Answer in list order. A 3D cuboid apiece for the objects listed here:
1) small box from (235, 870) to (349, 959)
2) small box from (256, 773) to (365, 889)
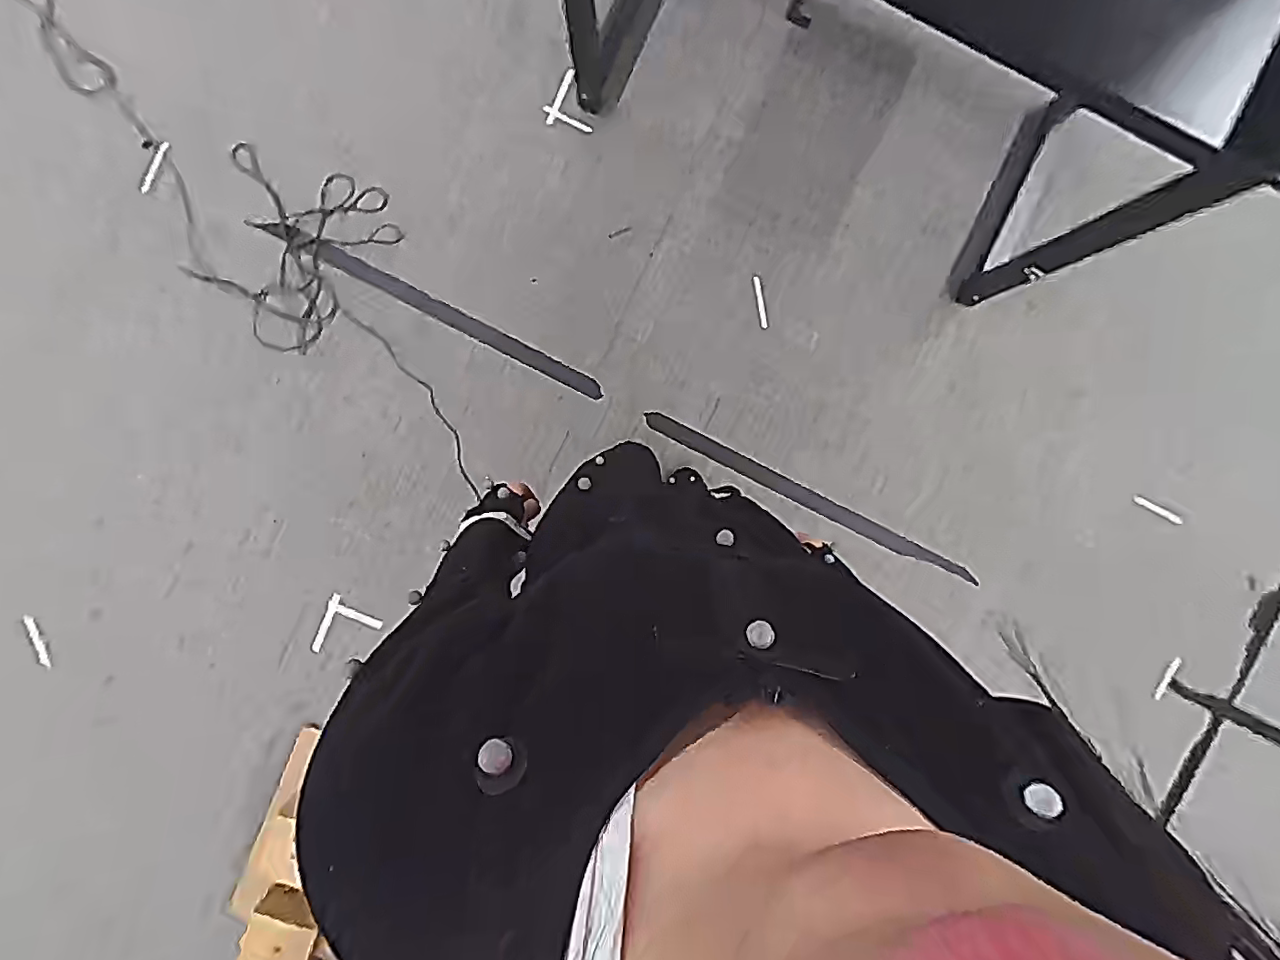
[{"bbox_3d":[-0.933,1.180,1.462,0.179,0.176,0.168,19,94,-3],"label":"small box"},{"bbox_3d":[-0.868,0.927,1.444,0.168,0.176,0.179,20,93,-3],"label":"small box"}]
